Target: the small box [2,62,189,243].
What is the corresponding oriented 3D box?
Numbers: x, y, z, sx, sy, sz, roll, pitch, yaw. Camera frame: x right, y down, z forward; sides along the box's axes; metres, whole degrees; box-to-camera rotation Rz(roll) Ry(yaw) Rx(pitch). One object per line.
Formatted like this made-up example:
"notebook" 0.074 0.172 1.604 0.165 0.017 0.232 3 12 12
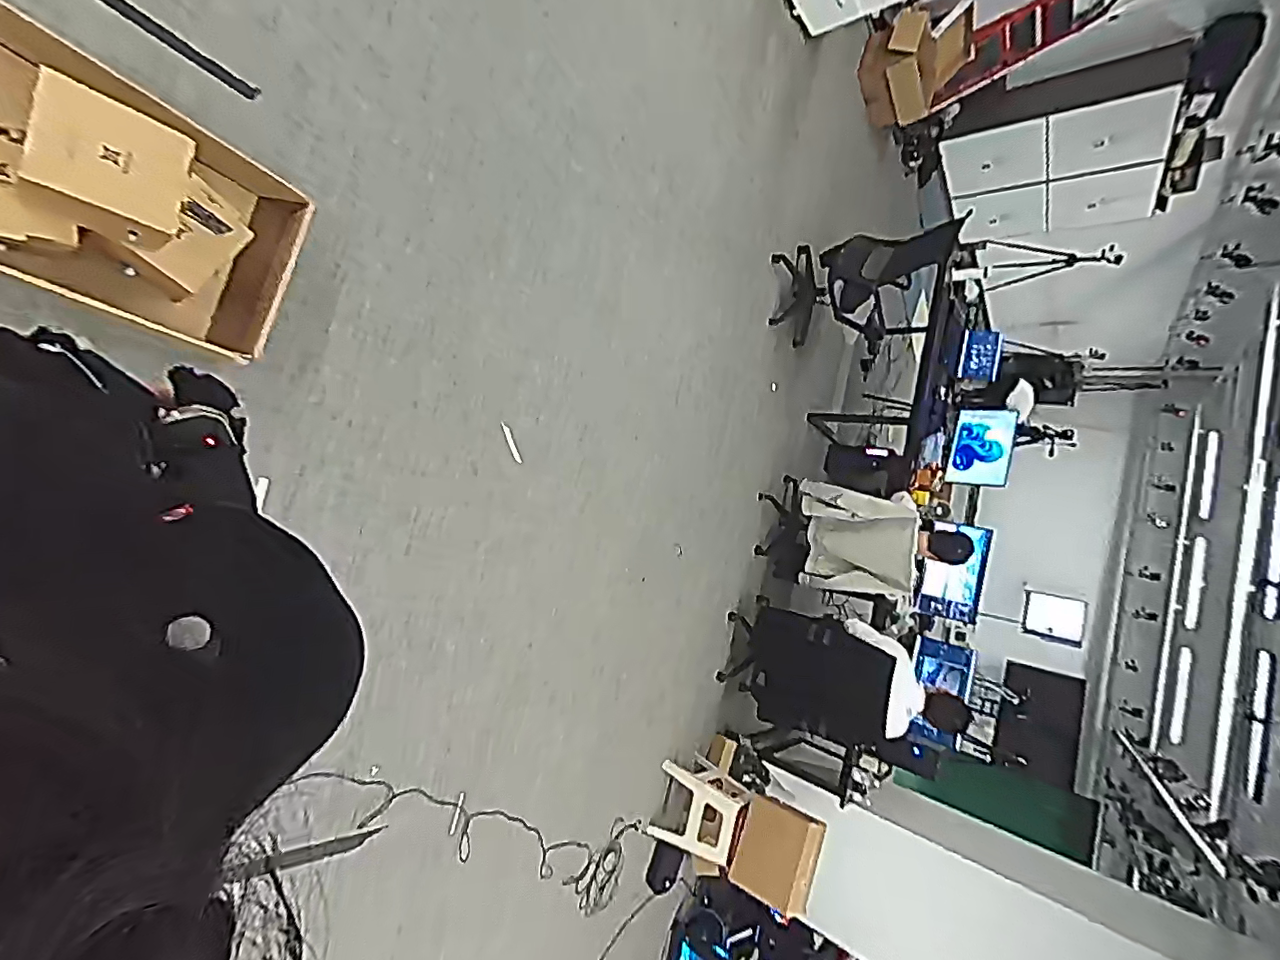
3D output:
"small box" -0.862 -0.498 0.858 0.179 0.176 0.168 13 85 -51
